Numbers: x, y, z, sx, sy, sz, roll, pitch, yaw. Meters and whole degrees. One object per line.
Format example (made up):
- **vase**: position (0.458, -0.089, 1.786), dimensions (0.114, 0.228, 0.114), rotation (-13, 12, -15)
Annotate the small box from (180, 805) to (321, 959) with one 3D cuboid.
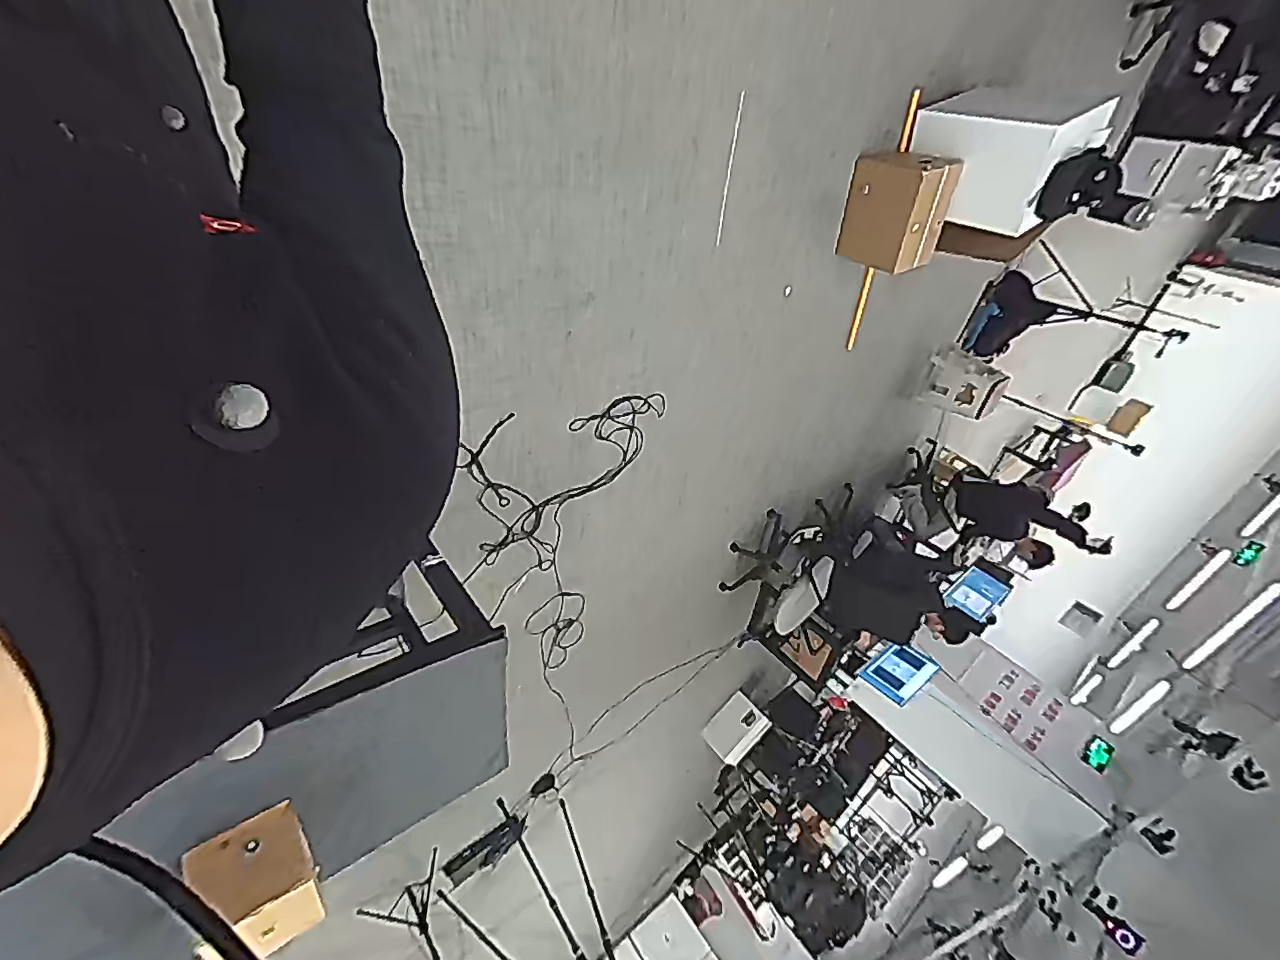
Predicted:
- **small box**: position (-0.710, 0.745, 0.991), dimensions (0.168, 0.176, 0.179), rotation (-18, 133, -37)
